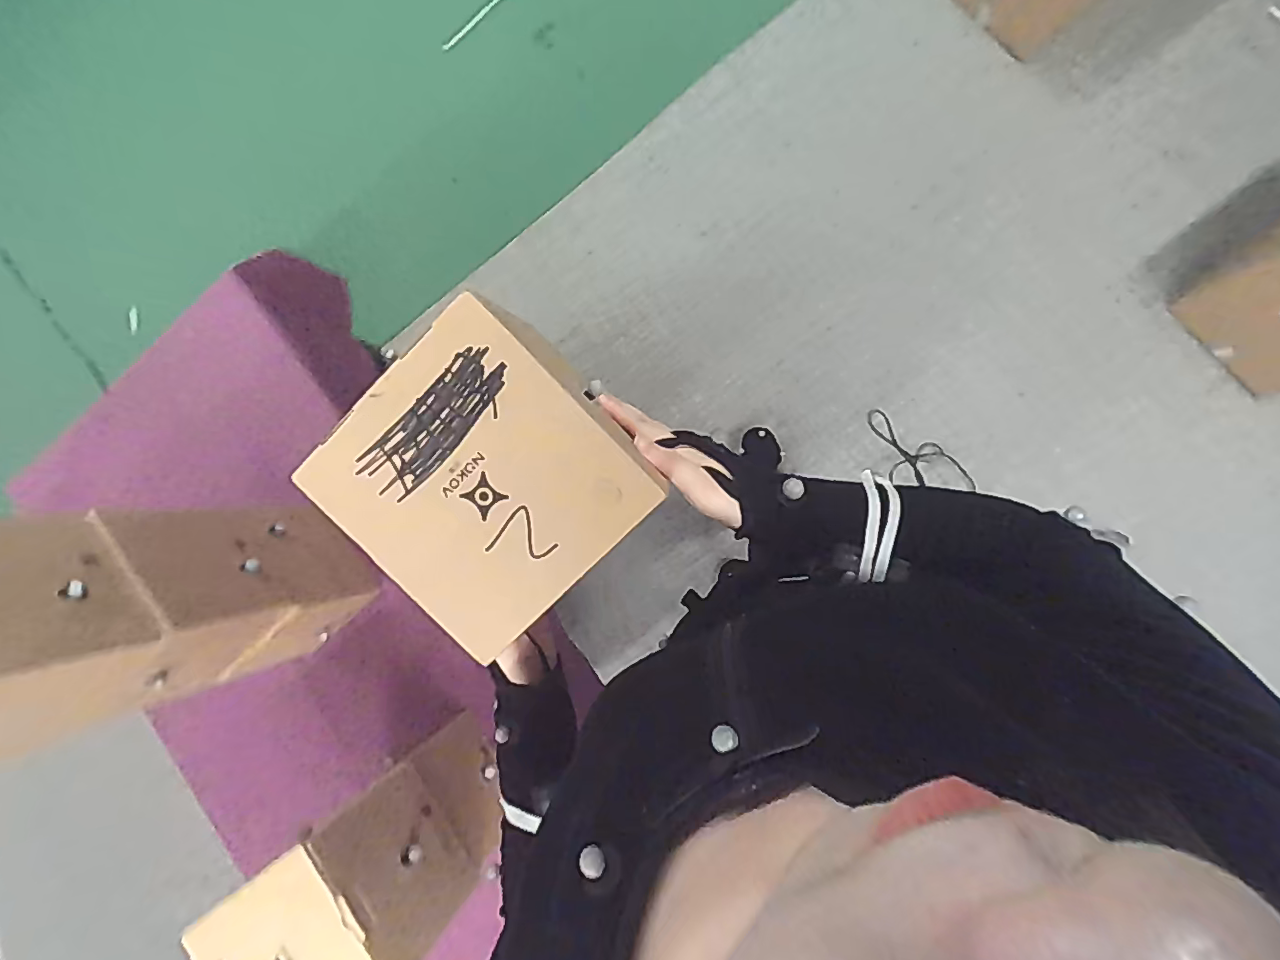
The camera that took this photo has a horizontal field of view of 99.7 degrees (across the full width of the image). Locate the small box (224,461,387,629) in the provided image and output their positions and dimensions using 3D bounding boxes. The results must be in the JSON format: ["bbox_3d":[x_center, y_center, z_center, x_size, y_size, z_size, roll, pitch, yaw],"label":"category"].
[{"bbox_3d":[-0.528,0.093,0.813,0.168,0.176,0.179,-36,82,8],"label":"small box"}]
